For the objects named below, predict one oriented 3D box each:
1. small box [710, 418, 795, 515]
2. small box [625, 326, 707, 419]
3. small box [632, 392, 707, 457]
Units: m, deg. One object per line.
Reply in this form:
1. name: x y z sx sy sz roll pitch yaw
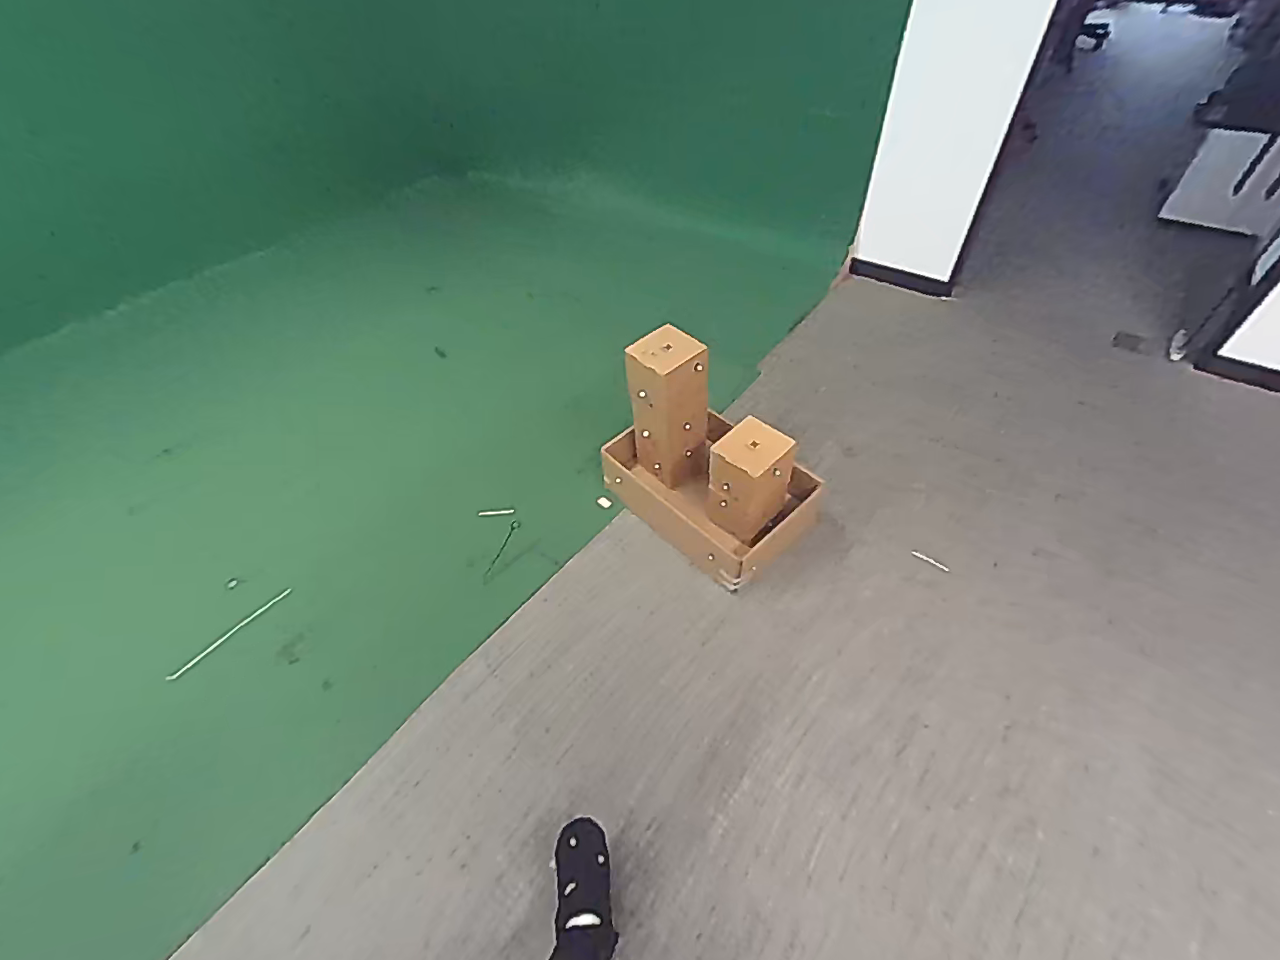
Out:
1. small box: 0.311 -0.038 1.535 0.179 0.176 0.168 -38 56 -23
2. small box: 0.074 -0.312 1.576 0.179 0.176 0.168 -36 57 -22
3. small box: 0.090 -0.206 1.701 0.179 0.176 0.168 -34 56 -21
